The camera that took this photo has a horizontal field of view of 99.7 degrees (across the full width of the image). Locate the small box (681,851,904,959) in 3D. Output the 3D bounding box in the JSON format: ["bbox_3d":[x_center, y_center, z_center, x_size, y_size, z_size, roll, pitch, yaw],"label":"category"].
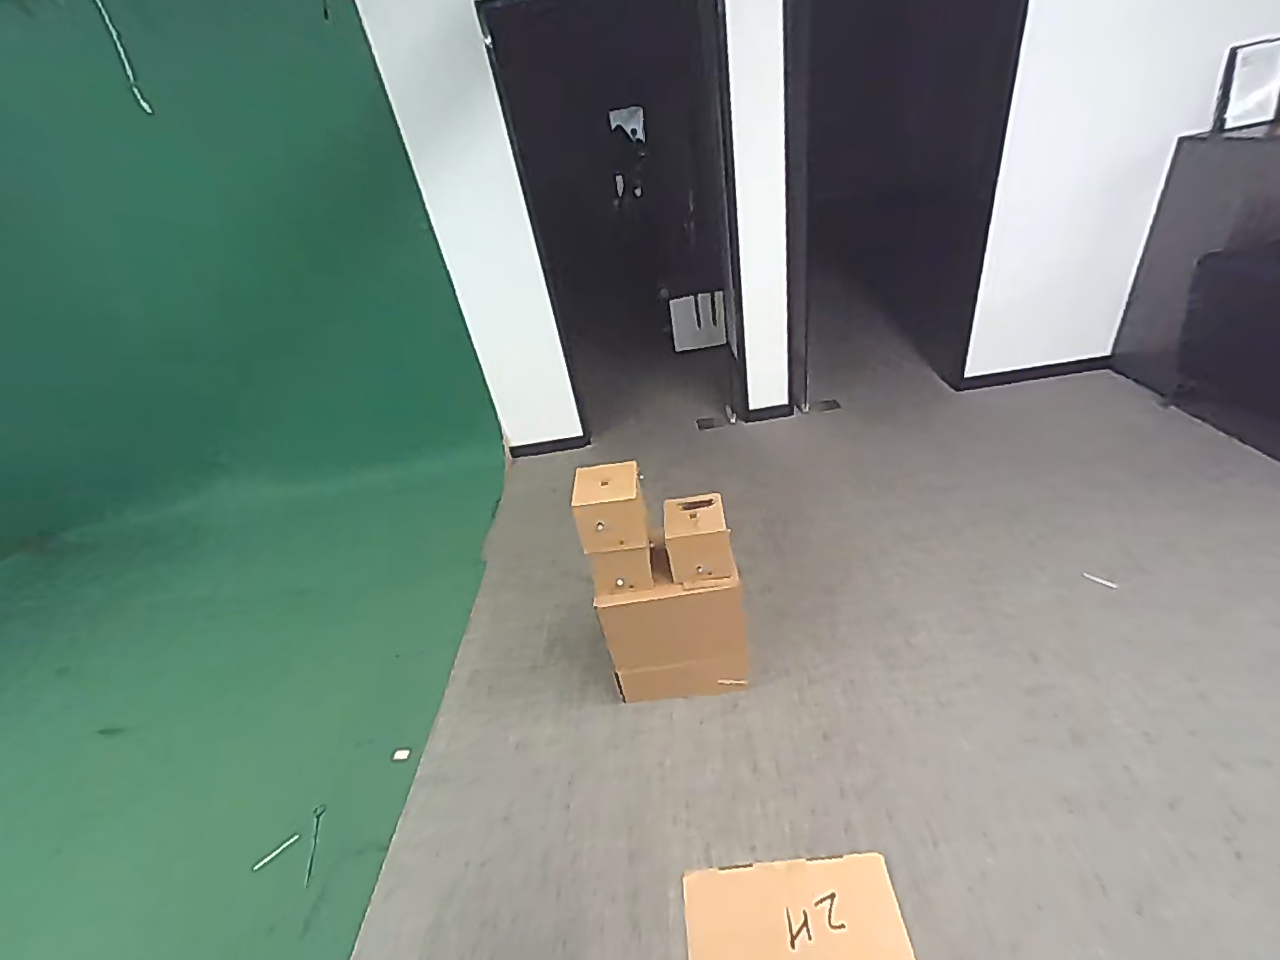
[{"bbox_3d":[0.133,0.436,0.451,0.168,0.176,0.179,-10,44,6],"label":"small box"}]

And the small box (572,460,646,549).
[{"bbox_3d":[-0.078,0.070,1.450,0.168,0.176,0.179,-7,34,4],"label":"small box"}]

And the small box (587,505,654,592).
[{"bbox_3d":[-0.052,0.195,1.551,0.168,0.176,0.179,-7,36,4],"label":"small box"}]
